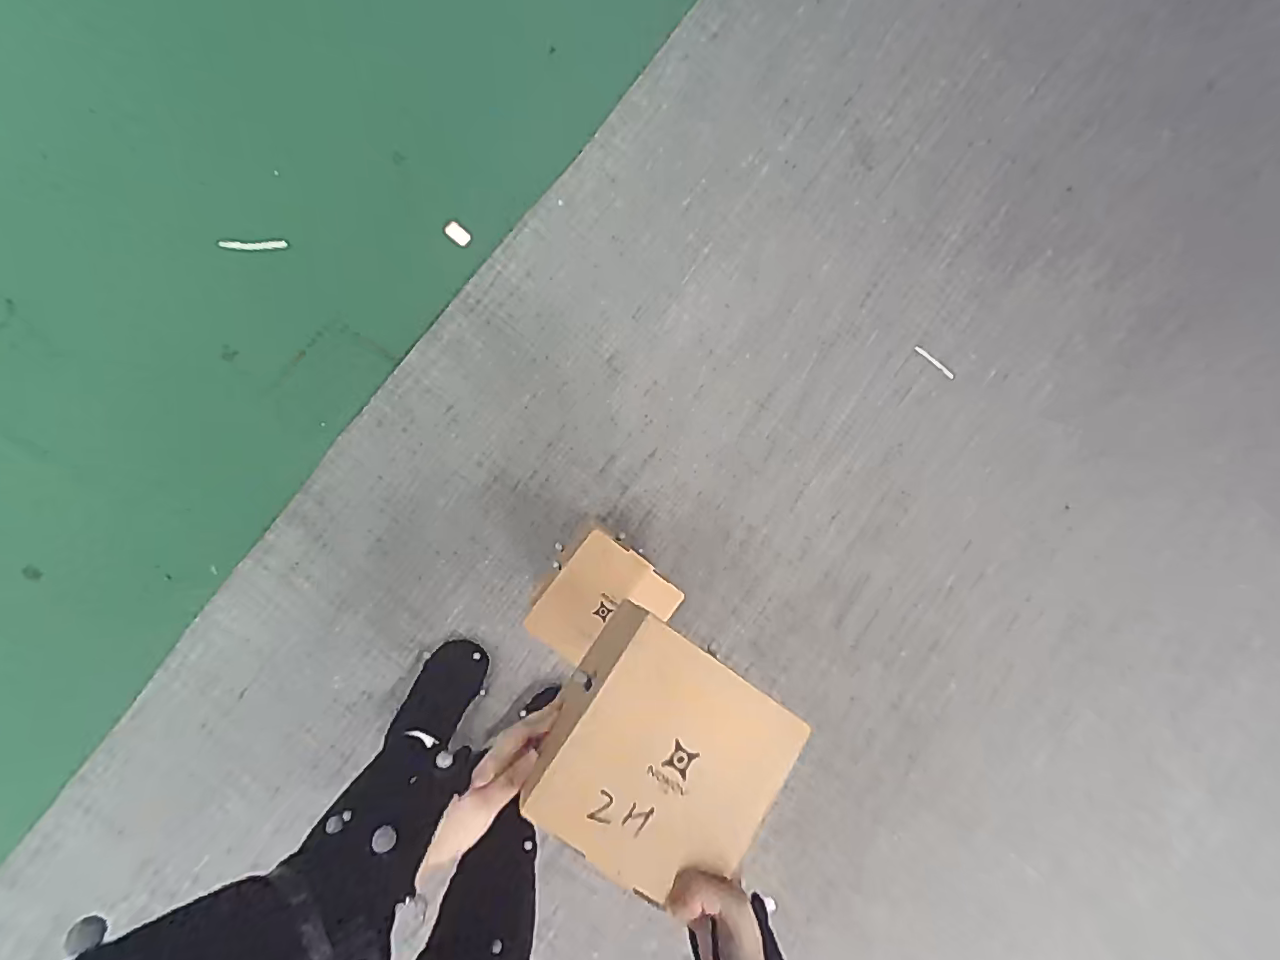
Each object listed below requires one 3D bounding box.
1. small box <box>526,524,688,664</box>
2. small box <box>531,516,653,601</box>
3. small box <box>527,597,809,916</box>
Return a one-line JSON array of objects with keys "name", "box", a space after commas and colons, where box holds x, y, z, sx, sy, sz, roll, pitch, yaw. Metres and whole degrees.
[{"name": "small box", "box": [-0.054, 0.182, 0.836, 0.168, 0.176, 0.179, 37, 85, -3]}, {"name": "small box", "box": [-0.075, 0.184, 0.998, 0.168, 0.176, 0.179, 40, 85, -4]}, {"name": "small box", "box": [0.014, 0.224, 0.497, 0.168, 0.176, 0.179, 35, 79, -2]}]
